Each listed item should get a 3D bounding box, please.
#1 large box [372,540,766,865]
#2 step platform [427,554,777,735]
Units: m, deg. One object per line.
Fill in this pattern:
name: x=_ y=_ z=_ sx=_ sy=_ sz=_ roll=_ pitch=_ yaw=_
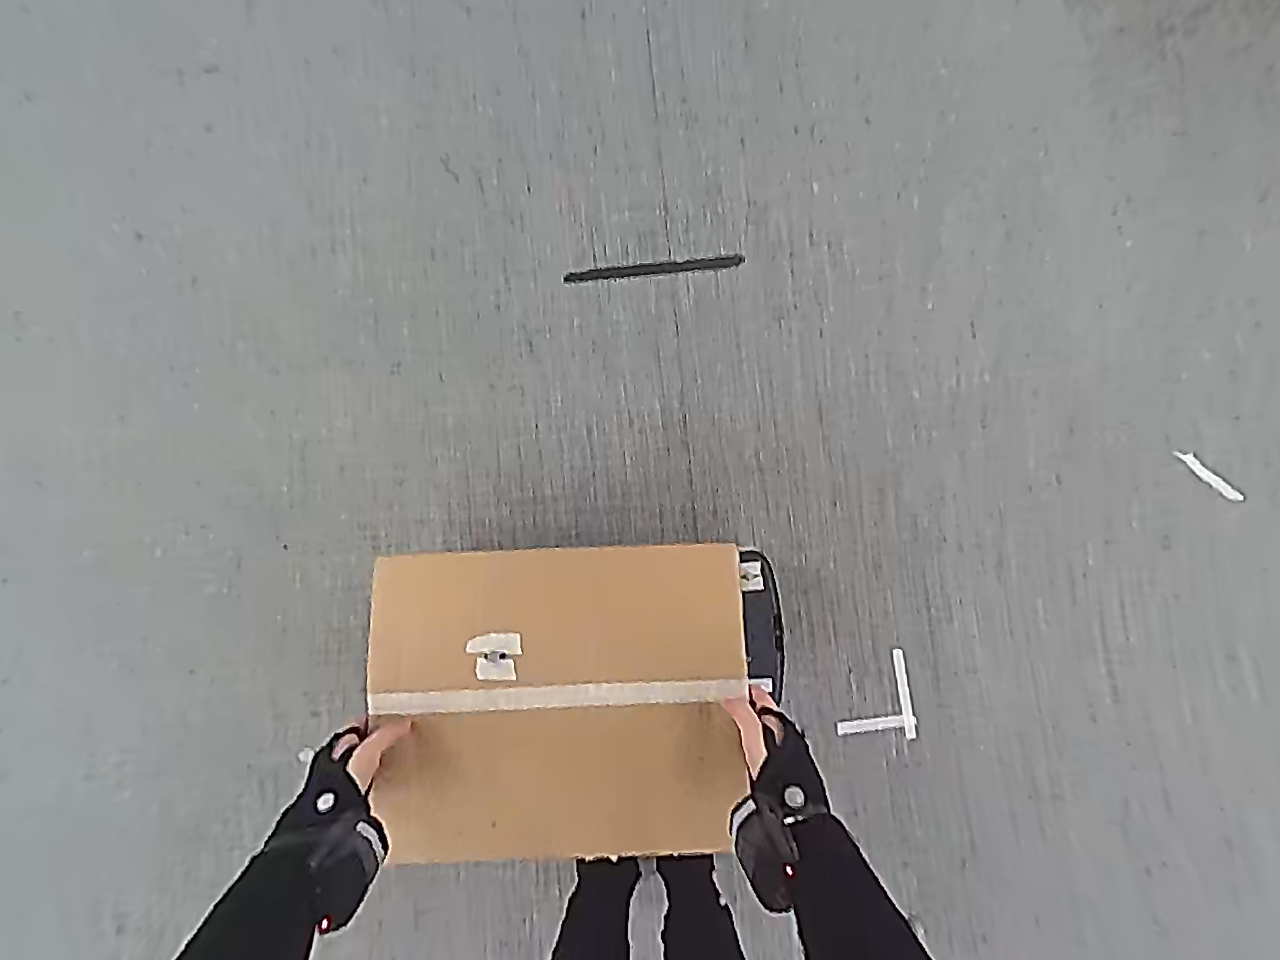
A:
large box: x=-0.074 y=0.253 z=0.712 sx=0.408 sy=0.320 sz=0.320 roll=-2 pitch=79 yaw=1
step platform: x=-0.098 y=0.292 z=0.997 sx=0.684 sy=0.204 sz=0.286 roll=2 pitch=84 yaw=2
